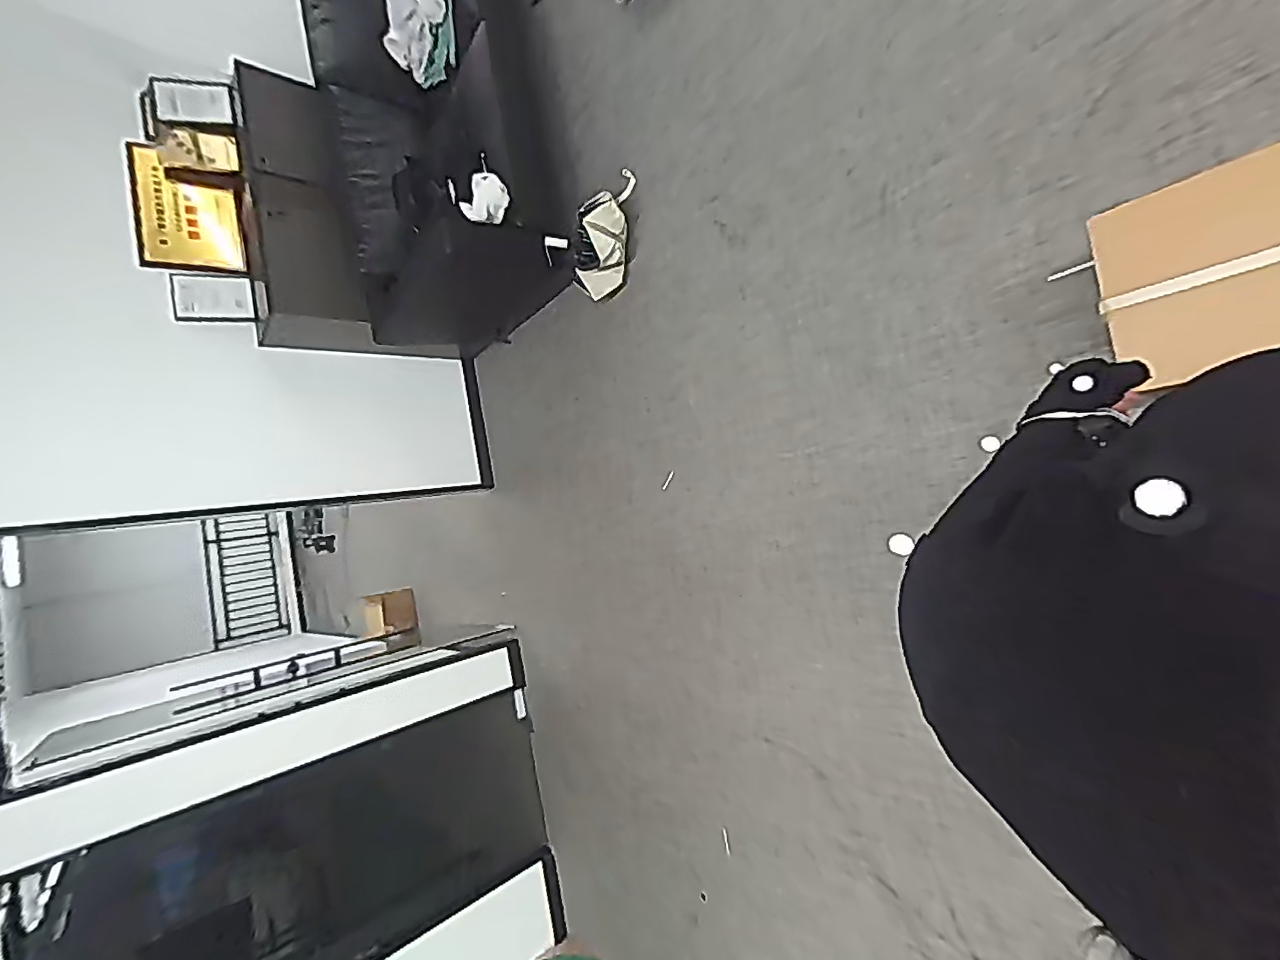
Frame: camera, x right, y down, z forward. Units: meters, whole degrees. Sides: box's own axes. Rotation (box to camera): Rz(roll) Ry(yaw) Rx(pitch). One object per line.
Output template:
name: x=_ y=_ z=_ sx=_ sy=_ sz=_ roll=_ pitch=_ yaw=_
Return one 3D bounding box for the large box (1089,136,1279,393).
large box: x=1.038 y=-0.348 z=0.874 sx=0.408 sy=0.320 sz=0.320 roll=-14 pitch=85 yaw=48
